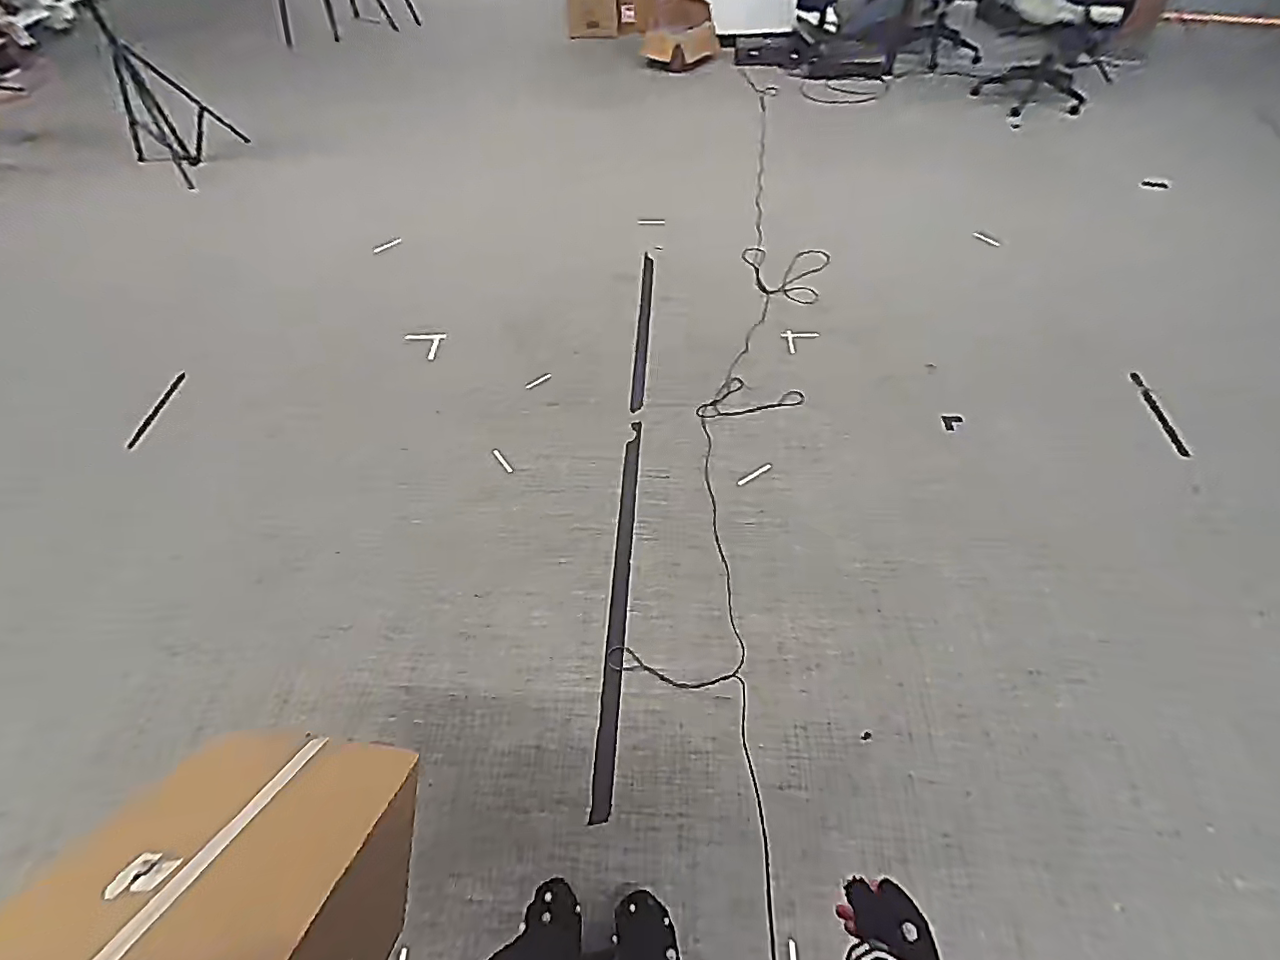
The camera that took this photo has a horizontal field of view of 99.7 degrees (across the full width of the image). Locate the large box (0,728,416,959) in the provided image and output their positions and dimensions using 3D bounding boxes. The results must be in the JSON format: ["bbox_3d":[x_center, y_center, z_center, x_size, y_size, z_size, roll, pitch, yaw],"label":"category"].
[{"bbox_3d":[-0.535,0.596,0.699,0.320,0.408,0.320,8,98,0],"label":"large box"}]
